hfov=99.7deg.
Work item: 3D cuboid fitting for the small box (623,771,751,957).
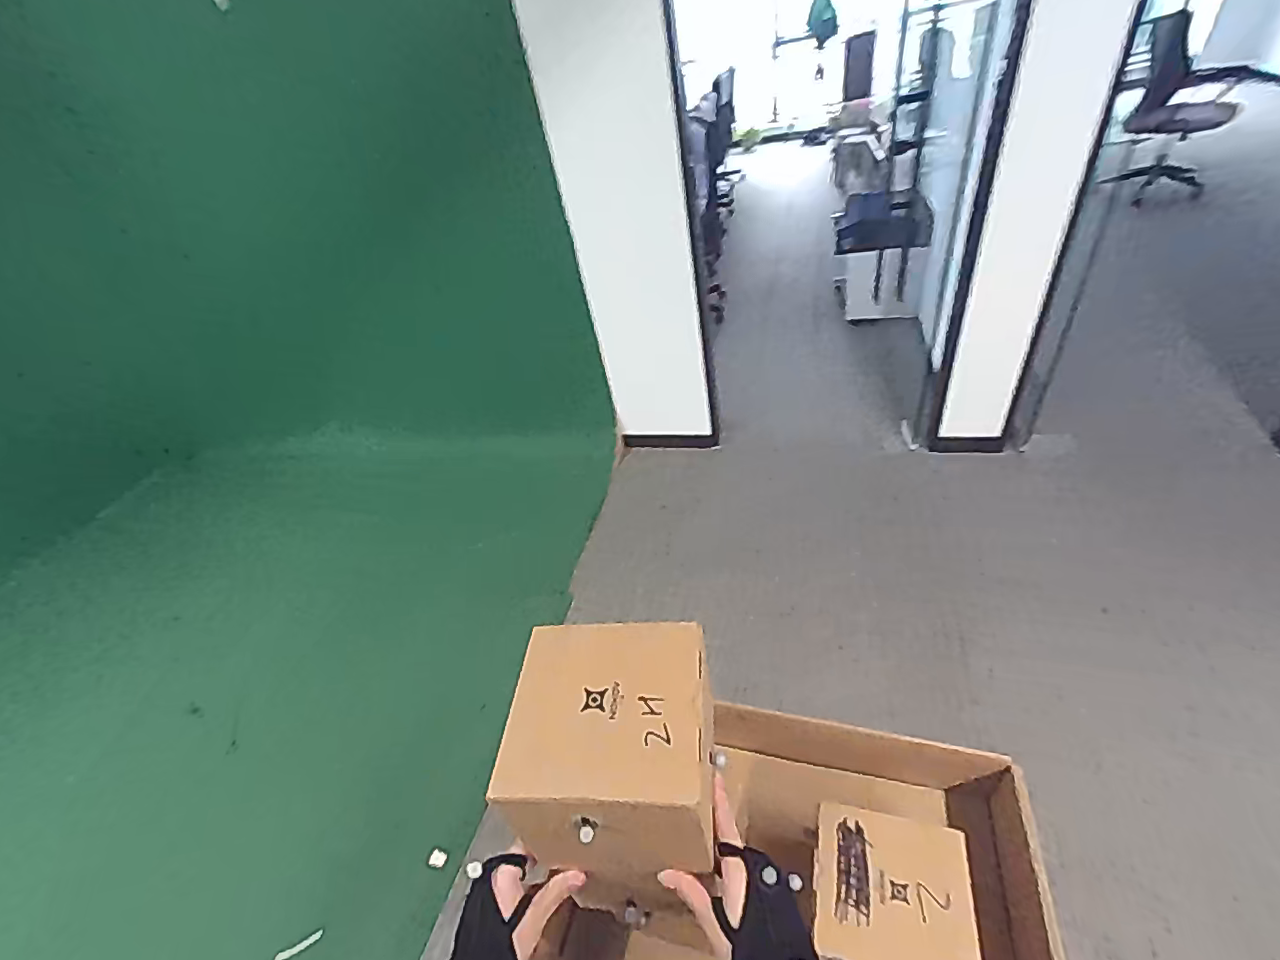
[{"bbox_3d":[0.065,0.532,0.773,0.168,0.176,0.179,3,40,19],"label":"small box"}]

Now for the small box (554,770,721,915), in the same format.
[{"bbox_3d":[0.007,0.378,0.636,0.168,0.176,0.179,-4,40,8],"label":"small box"}]

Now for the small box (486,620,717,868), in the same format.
[{"bbox_3d":[-0.019,0.257,0.529,0.179,0.176,0.168,-4,40,10],"label":"small box"}]
